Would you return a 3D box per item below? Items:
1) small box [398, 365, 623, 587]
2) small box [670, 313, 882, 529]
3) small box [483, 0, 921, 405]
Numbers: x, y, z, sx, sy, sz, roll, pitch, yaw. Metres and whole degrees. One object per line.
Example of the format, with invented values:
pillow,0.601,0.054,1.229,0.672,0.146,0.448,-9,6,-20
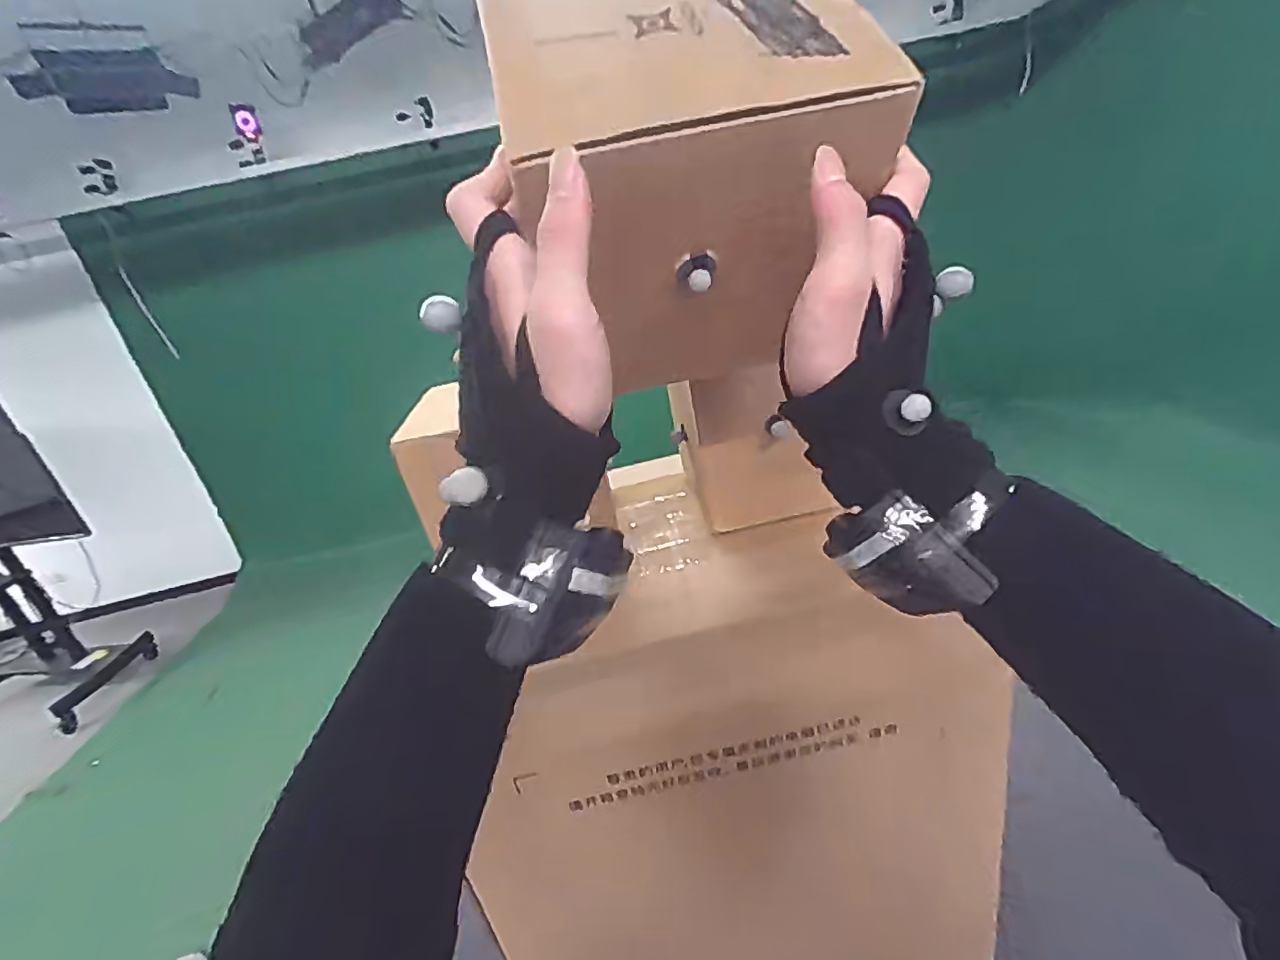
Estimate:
small box,-0.118,-0.007,0.555,0.168,0.176,0.179,-12,24,-3
small box,0.131,-0.068,0.562,0.179,0.176,0.168,-14,26,-1
small box,0.022,-0.169,0.325,0.179,0.176,0.168,-13,63,-1
